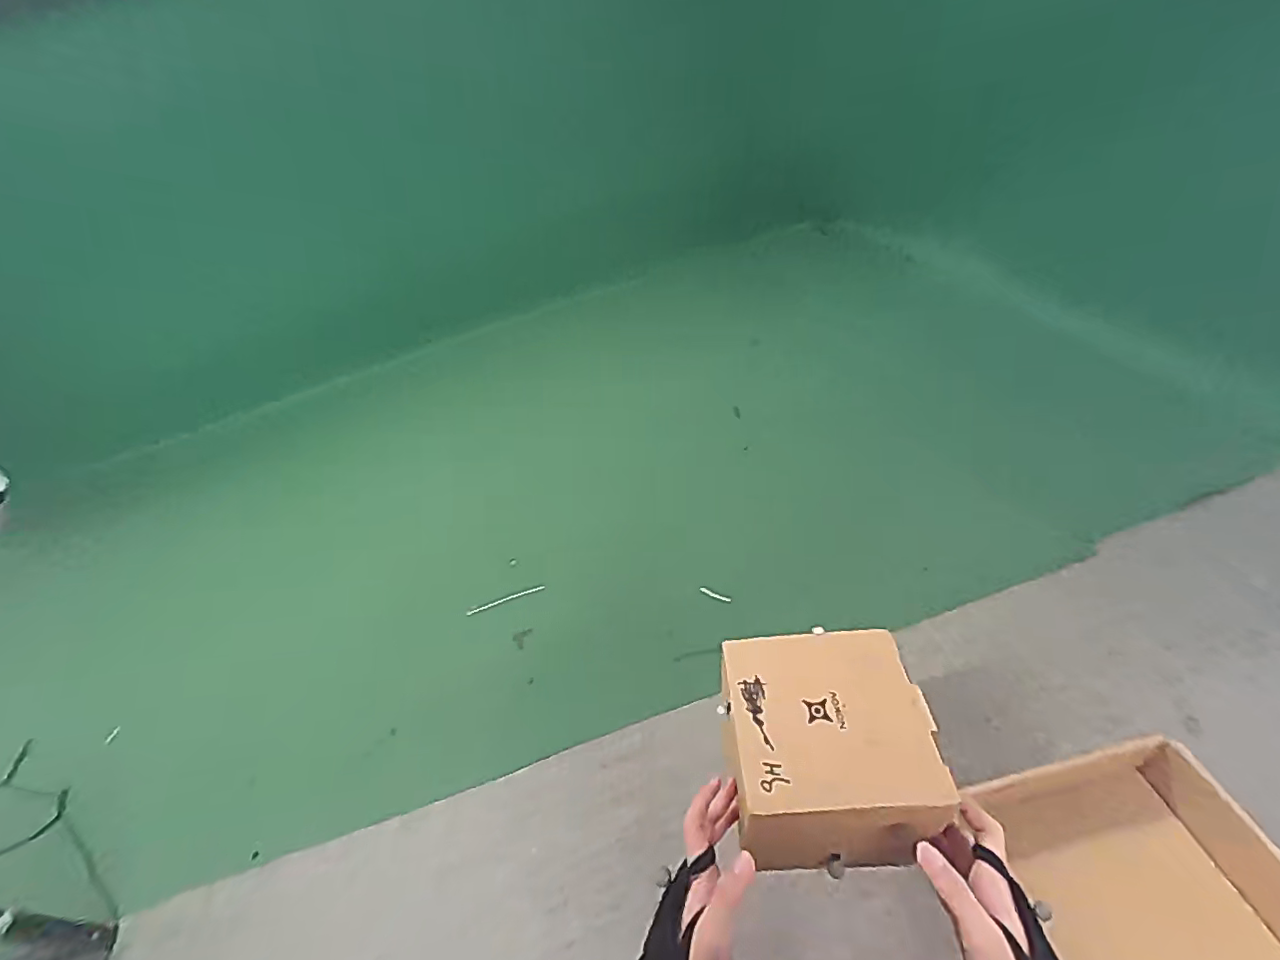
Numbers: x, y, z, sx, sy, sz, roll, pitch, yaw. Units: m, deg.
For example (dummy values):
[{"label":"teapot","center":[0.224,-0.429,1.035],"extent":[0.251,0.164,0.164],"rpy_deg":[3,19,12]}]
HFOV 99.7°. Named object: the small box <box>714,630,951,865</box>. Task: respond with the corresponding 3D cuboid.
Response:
[{"label":"small box","center":[0.172,0.272,0.552],"extent":[0.179,0.176,0.168],"rpy_deg":[-4,40,2]}]
